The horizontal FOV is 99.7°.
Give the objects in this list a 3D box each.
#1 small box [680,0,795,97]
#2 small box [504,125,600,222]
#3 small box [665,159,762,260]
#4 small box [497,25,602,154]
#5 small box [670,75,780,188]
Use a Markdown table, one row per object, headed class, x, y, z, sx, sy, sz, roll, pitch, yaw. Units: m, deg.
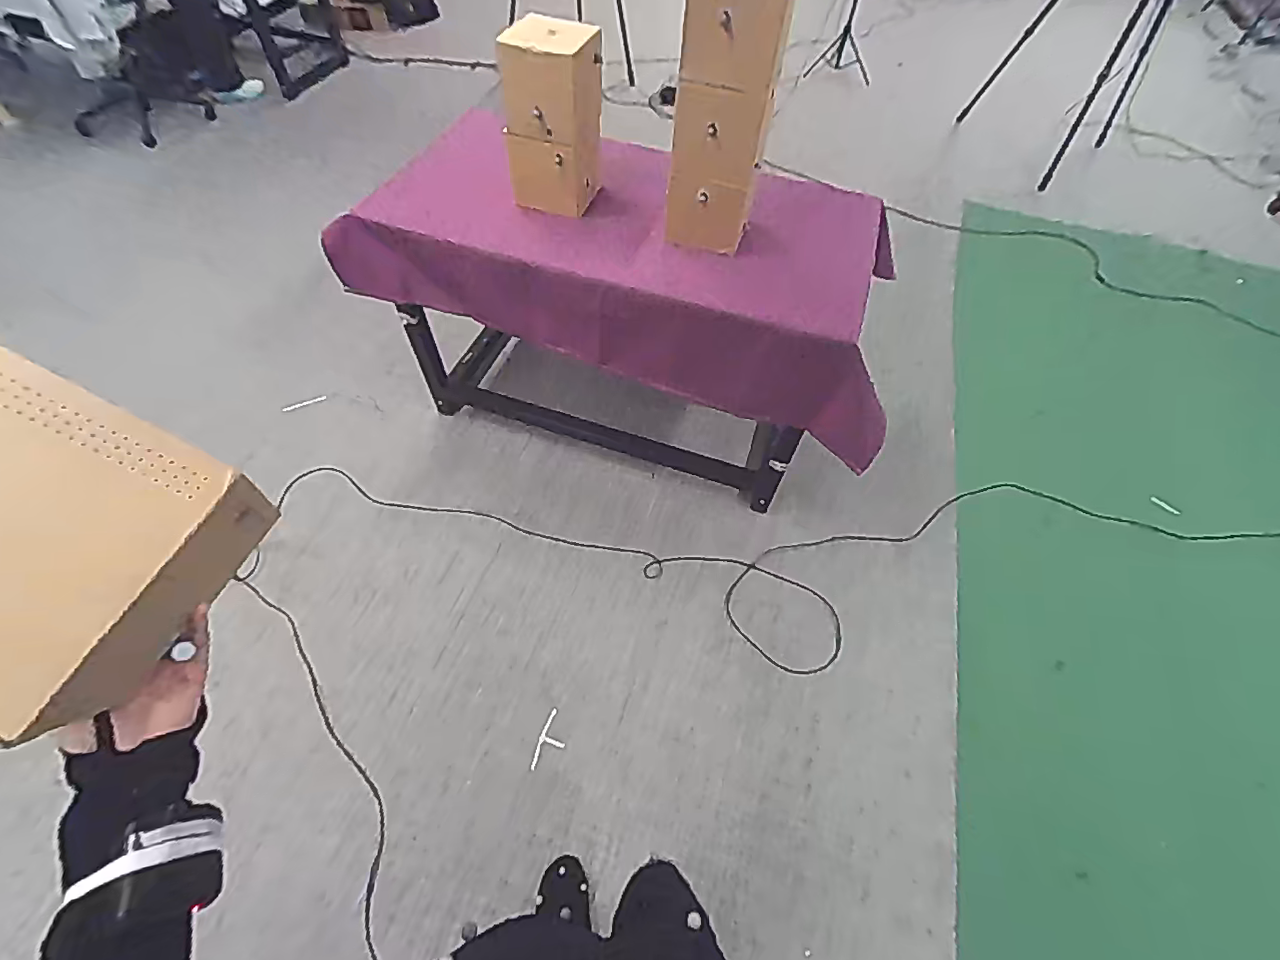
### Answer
| class | x | y | z | sx | sy | sz | roll | pitch | yaw |
| --- | --- | --- | --- | --- | --- | --- | --- | --- | --- |
| small box | 0.178 | -0.826 | 0.981 | 0.179 | 0.176 | 0.168 | 15 | 57 | 8 |
| small box | -0.205 | -0.754 | 1.311 | 0.179 | 0.176 | 0.168 | 16 | 56 | 7 |
| small box | 0.164 | -0.638 | 1.251 | 0.179 | 0.176 | 0.168 | 18 | 57 | 8 |
| small box | -0.189 | -0.848 | 1.176 | 0.168 | 0.176 | 0.179 | 16 | 56 | 7 |
| small box | 0.171 | -0.732 | 1.116 | 0.179 | 0.176 | 0.168 | 16 | 57 | 9 |
